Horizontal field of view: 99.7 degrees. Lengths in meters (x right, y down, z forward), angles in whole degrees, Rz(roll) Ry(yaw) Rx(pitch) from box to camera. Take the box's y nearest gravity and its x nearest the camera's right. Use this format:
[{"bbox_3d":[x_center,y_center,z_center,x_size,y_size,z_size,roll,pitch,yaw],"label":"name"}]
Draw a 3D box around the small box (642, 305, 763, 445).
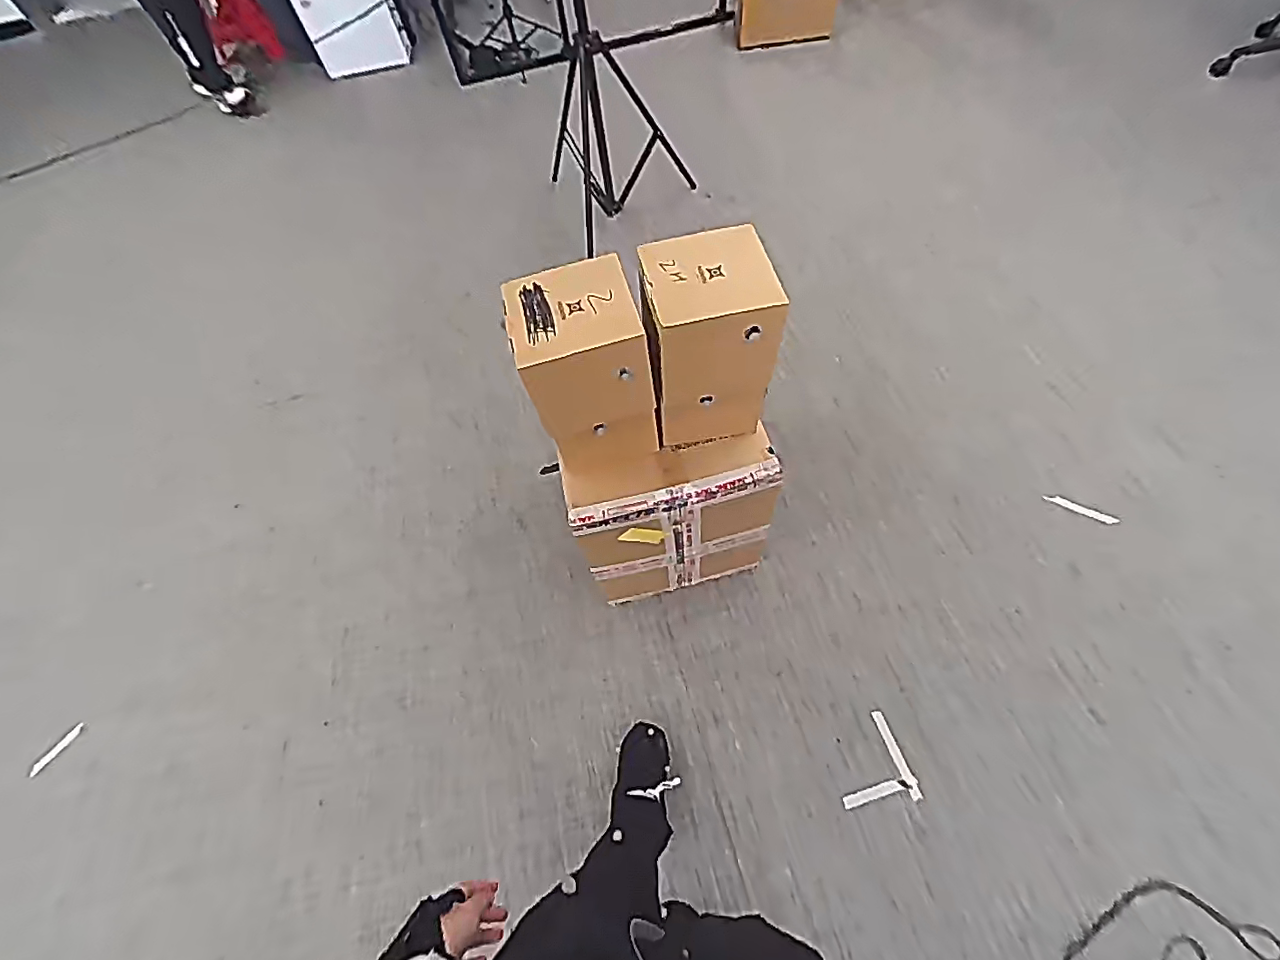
[{"bbox_3d":[0.106,-0.179,0.963,0.179,0.176,0.168,-9,61,-1],"label":"small box"}]
